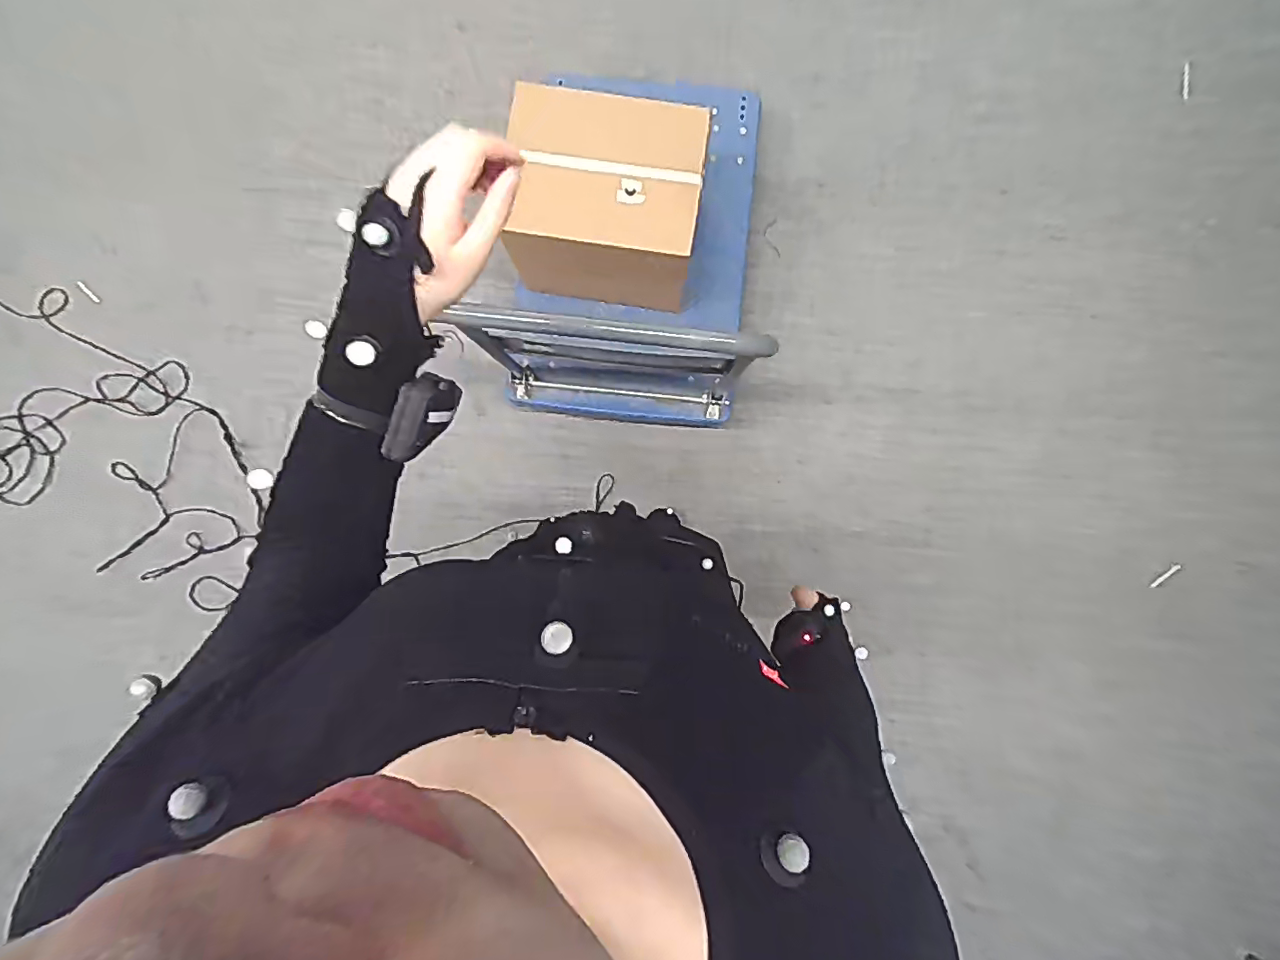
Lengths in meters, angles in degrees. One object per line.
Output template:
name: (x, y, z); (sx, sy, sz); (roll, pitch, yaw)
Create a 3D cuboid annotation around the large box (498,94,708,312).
large box: (-0.078, -0.616, 1.258); (0.408, 0.320, 0.320); (8, 87, 0)
